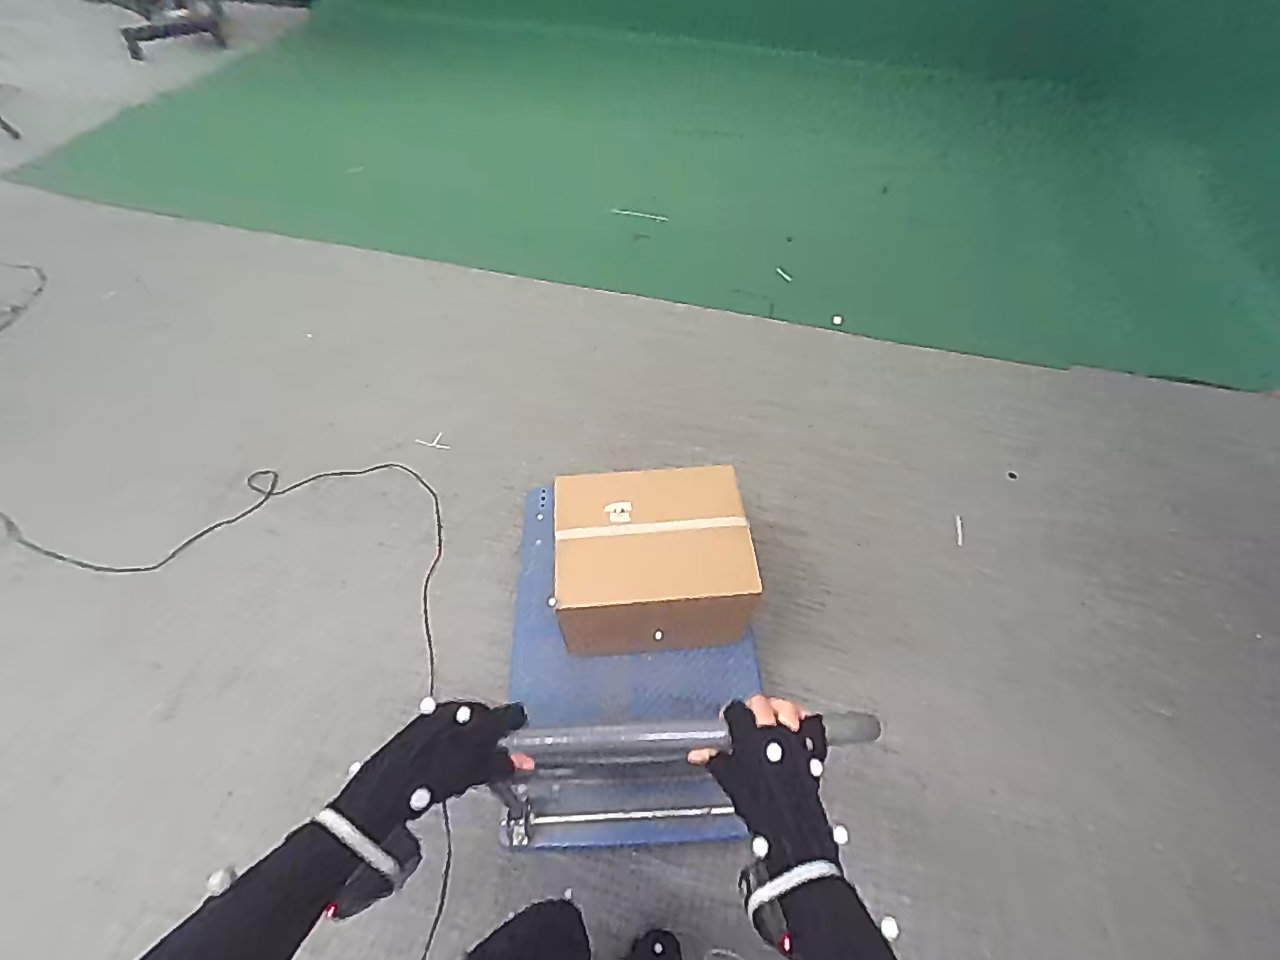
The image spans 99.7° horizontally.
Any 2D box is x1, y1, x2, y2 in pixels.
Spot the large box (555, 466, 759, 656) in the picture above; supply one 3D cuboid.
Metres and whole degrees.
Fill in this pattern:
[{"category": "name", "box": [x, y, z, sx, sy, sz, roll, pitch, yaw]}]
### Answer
[{"category": "large box", "box": [0.025, 0.195, 1.252, 0.408, 0.320, 0.320, -5, 54, -2]}]
